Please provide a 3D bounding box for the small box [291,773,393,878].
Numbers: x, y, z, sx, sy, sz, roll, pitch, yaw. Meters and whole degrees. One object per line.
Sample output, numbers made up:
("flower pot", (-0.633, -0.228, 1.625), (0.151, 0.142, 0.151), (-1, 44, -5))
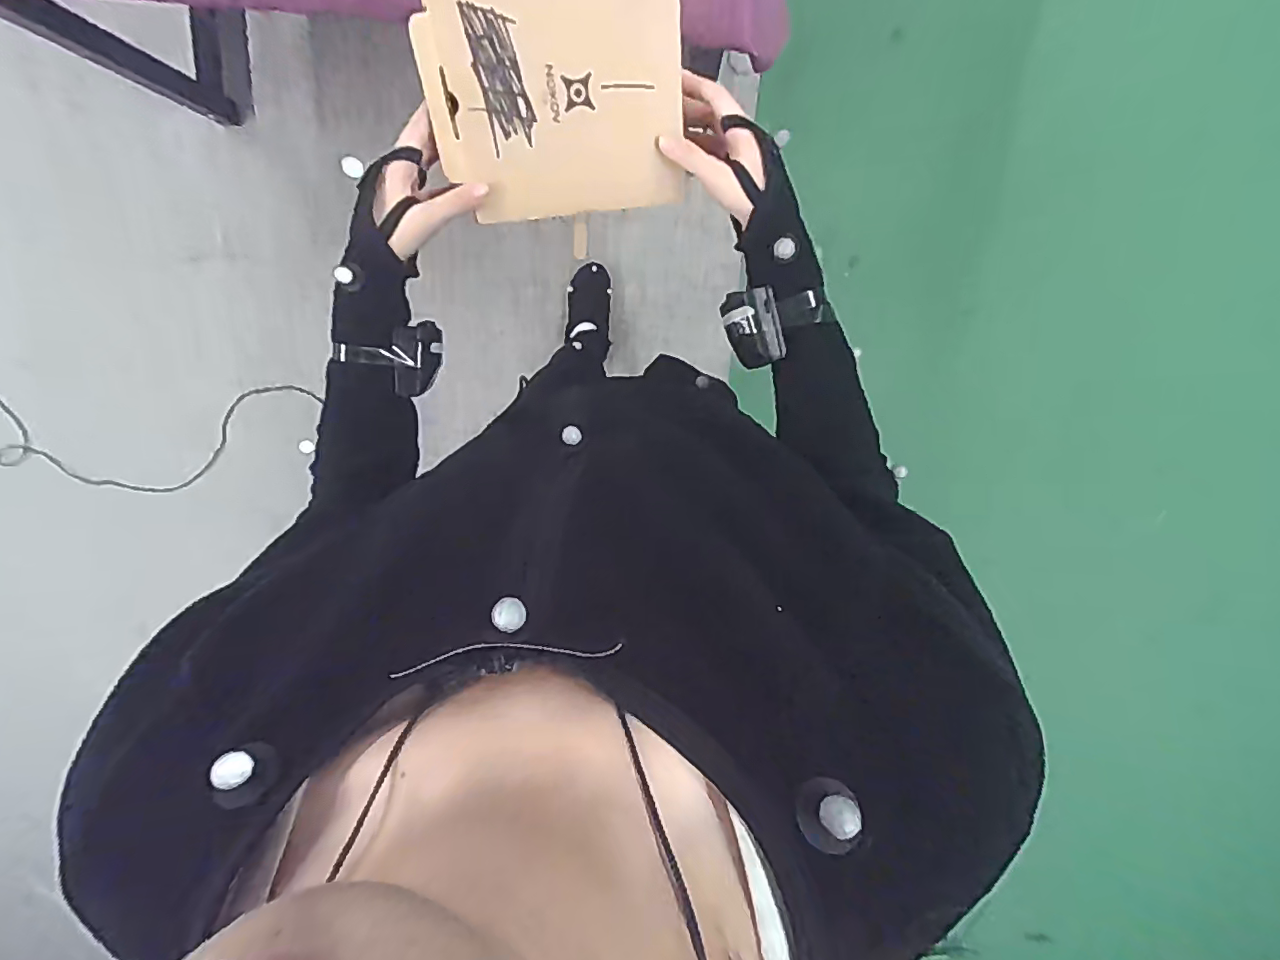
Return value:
("small box", (-0.799, 0.935, 1.471), (0.168, 0.176, 0.179), (-6, 103, 3))
